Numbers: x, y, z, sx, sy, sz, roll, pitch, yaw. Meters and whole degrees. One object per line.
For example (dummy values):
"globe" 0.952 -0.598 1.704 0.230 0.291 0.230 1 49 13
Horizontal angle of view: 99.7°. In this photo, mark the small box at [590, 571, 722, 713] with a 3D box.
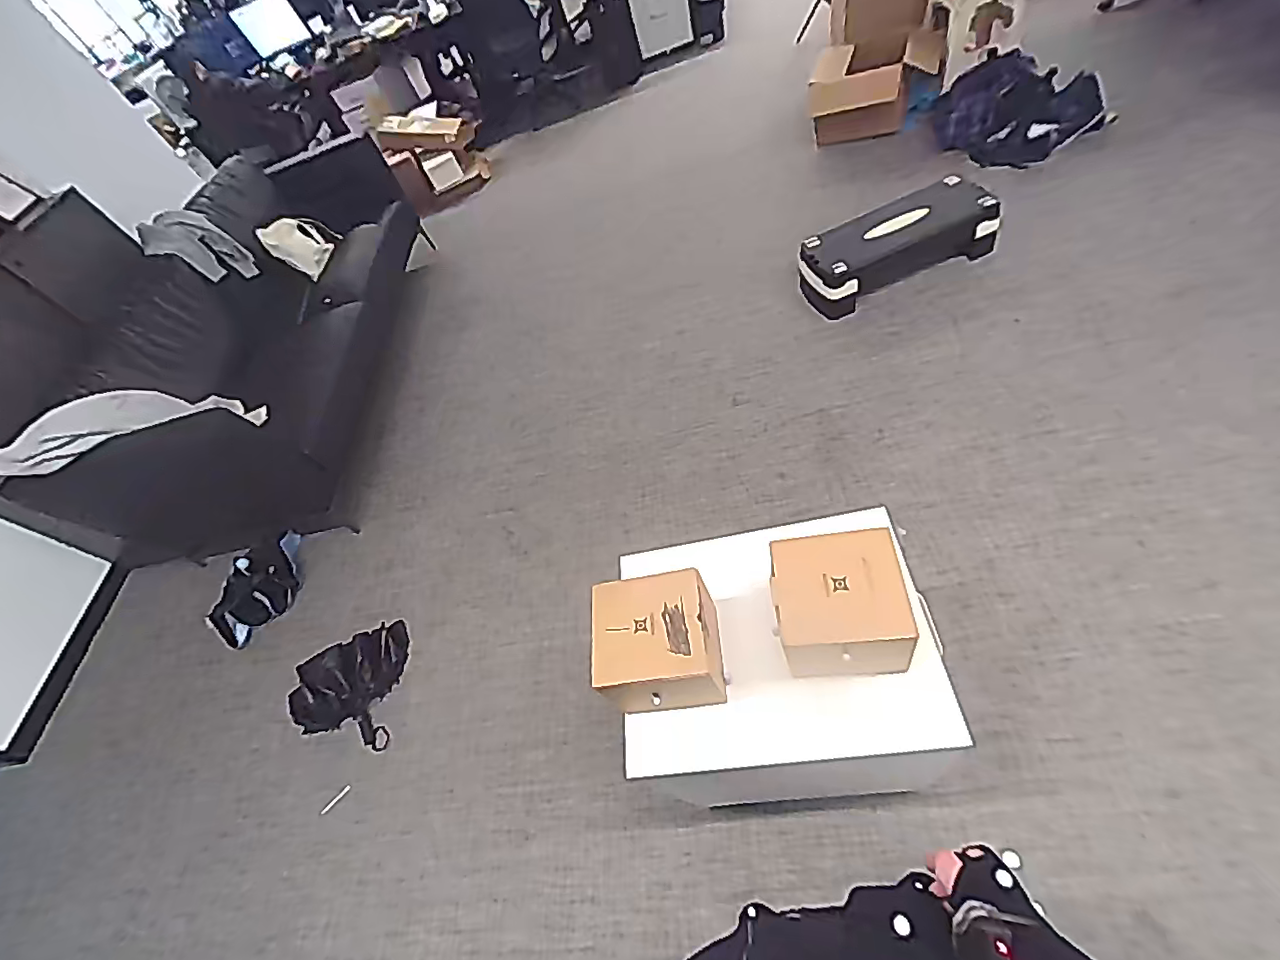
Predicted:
"small box" 0.031 0.267 0.874 0.179 0.176 0.168 -12 52 13

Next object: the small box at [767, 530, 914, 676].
"small box" 0.300 0.195 0.826 0.179 0.176 0.168 -9 55 15
